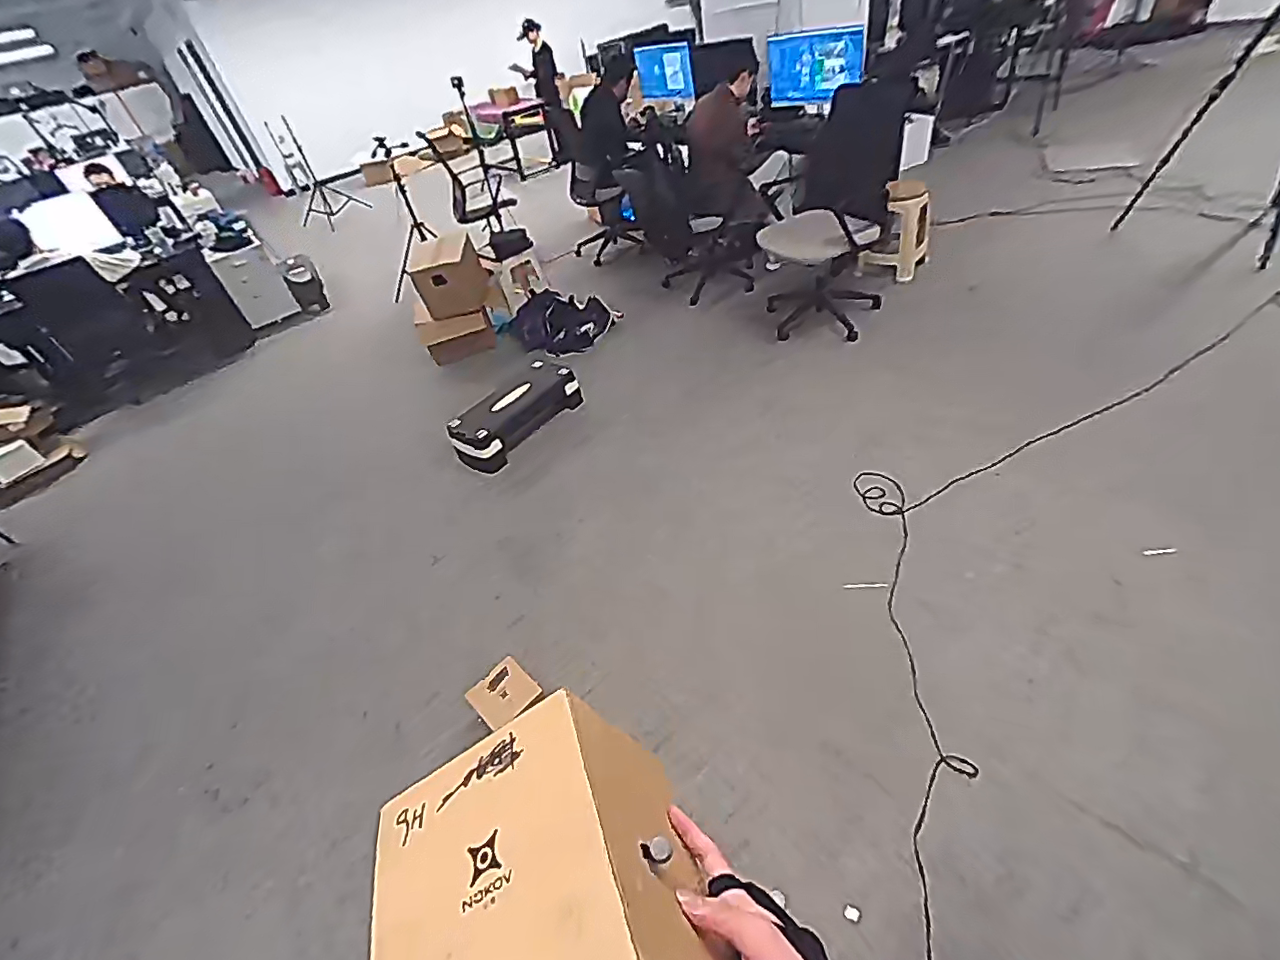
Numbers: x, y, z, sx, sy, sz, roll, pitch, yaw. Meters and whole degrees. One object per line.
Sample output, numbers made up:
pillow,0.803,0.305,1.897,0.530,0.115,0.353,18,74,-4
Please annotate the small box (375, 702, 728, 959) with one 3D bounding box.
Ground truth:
small box,-0.058,0.302,0.381,0.168,0.176,0.179,-33,38,-1

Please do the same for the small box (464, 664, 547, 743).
small box,-0.382,0.687,1.591,0.179,0.176,0.168,29,56,37
